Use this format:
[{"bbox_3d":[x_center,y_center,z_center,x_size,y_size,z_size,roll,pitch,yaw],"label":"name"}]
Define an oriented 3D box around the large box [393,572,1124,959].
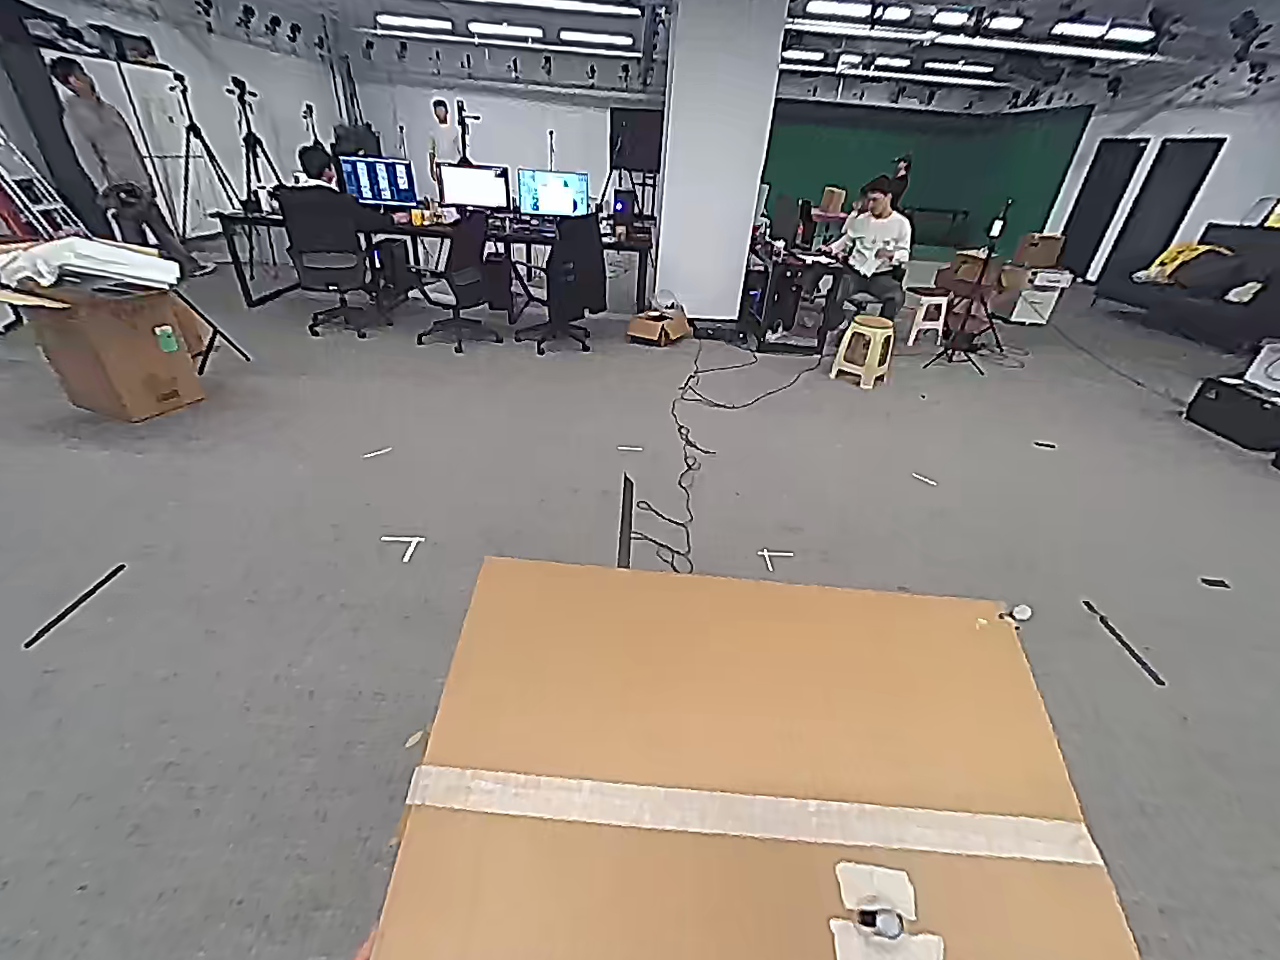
[{"bbox_3d":[0.063,0.296,0.448,0.408,0.320,0.320,5,53,0],"label":"large box"}]
